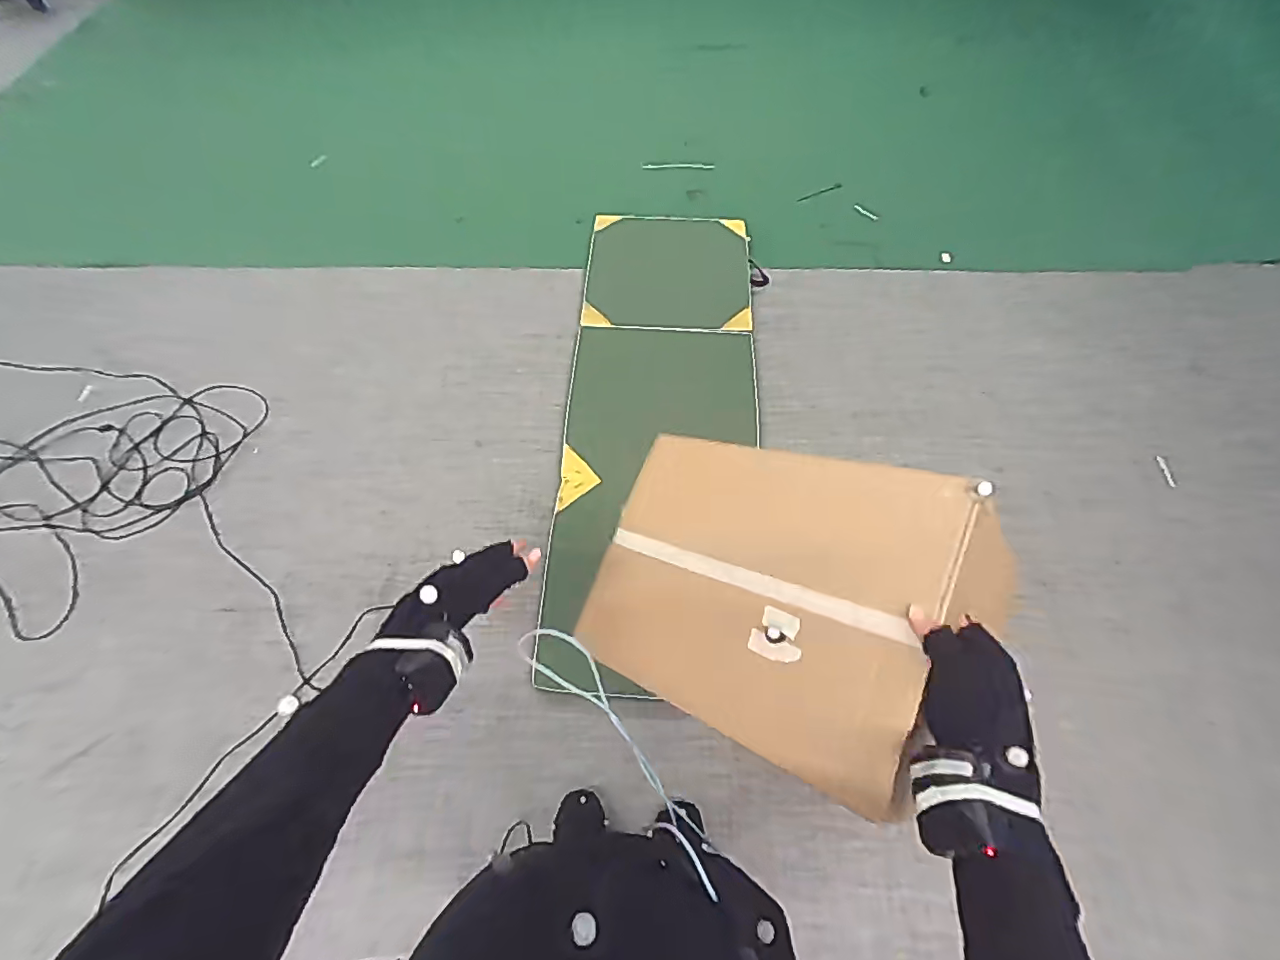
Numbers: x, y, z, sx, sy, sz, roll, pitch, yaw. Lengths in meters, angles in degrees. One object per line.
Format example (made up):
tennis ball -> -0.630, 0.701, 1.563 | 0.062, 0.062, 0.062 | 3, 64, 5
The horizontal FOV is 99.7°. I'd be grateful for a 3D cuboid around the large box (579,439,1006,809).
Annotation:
large box -> 0.204, 0.167, 0.710 | 0.408, 0.320, 0.320 | 12, 74, 41
